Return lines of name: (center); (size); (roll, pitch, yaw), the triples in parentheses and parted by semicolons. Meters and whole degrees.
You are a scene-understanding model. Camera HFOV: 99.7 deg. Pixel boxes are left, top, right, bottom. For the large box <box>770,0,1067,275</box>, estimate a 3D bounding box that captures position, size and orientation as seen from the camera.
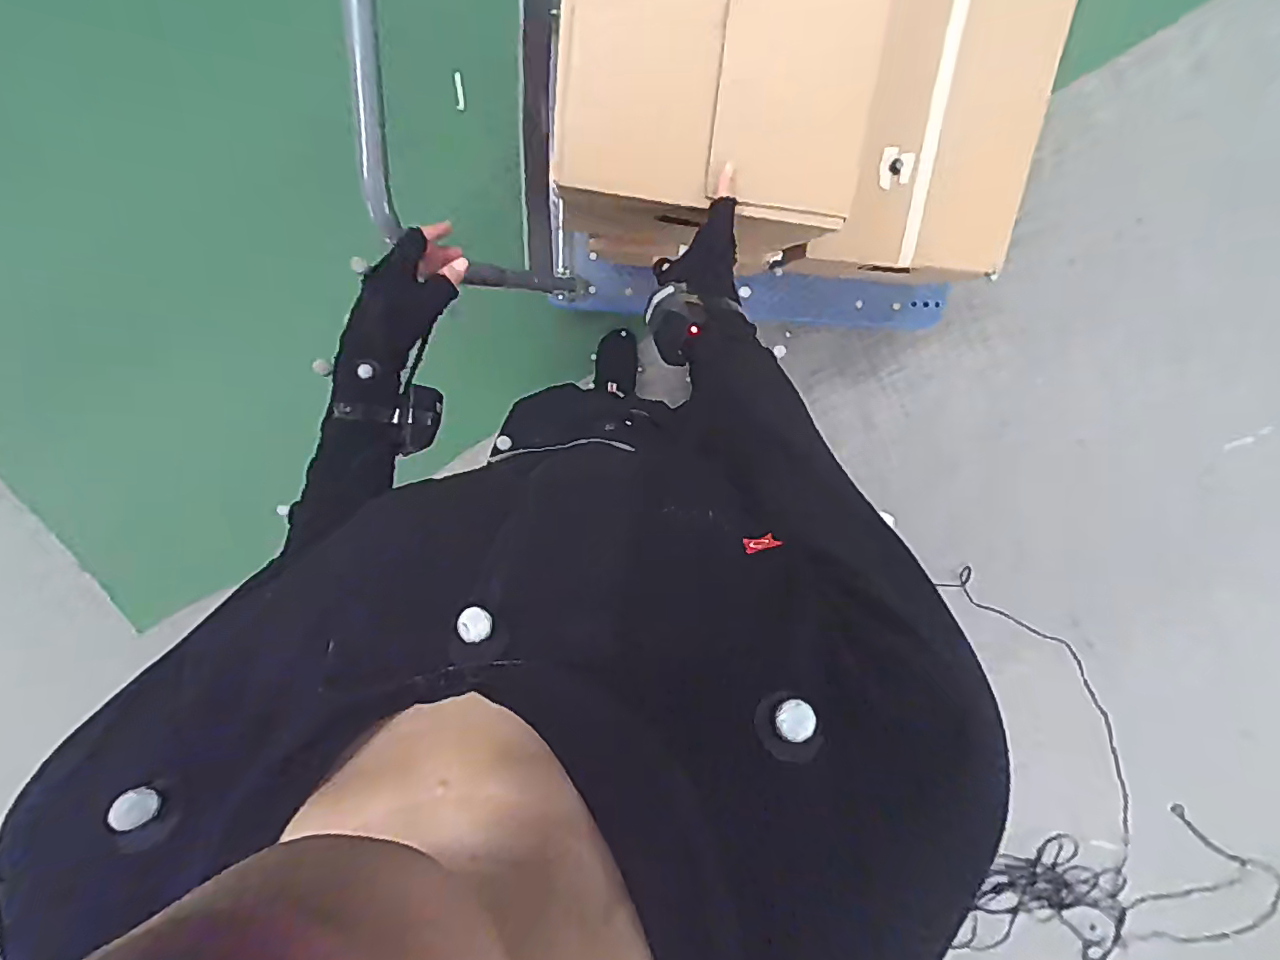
large box: (0.433, -0.586, 0.936); (0.320, 0.320, 0.408); (6, 109, 1)
